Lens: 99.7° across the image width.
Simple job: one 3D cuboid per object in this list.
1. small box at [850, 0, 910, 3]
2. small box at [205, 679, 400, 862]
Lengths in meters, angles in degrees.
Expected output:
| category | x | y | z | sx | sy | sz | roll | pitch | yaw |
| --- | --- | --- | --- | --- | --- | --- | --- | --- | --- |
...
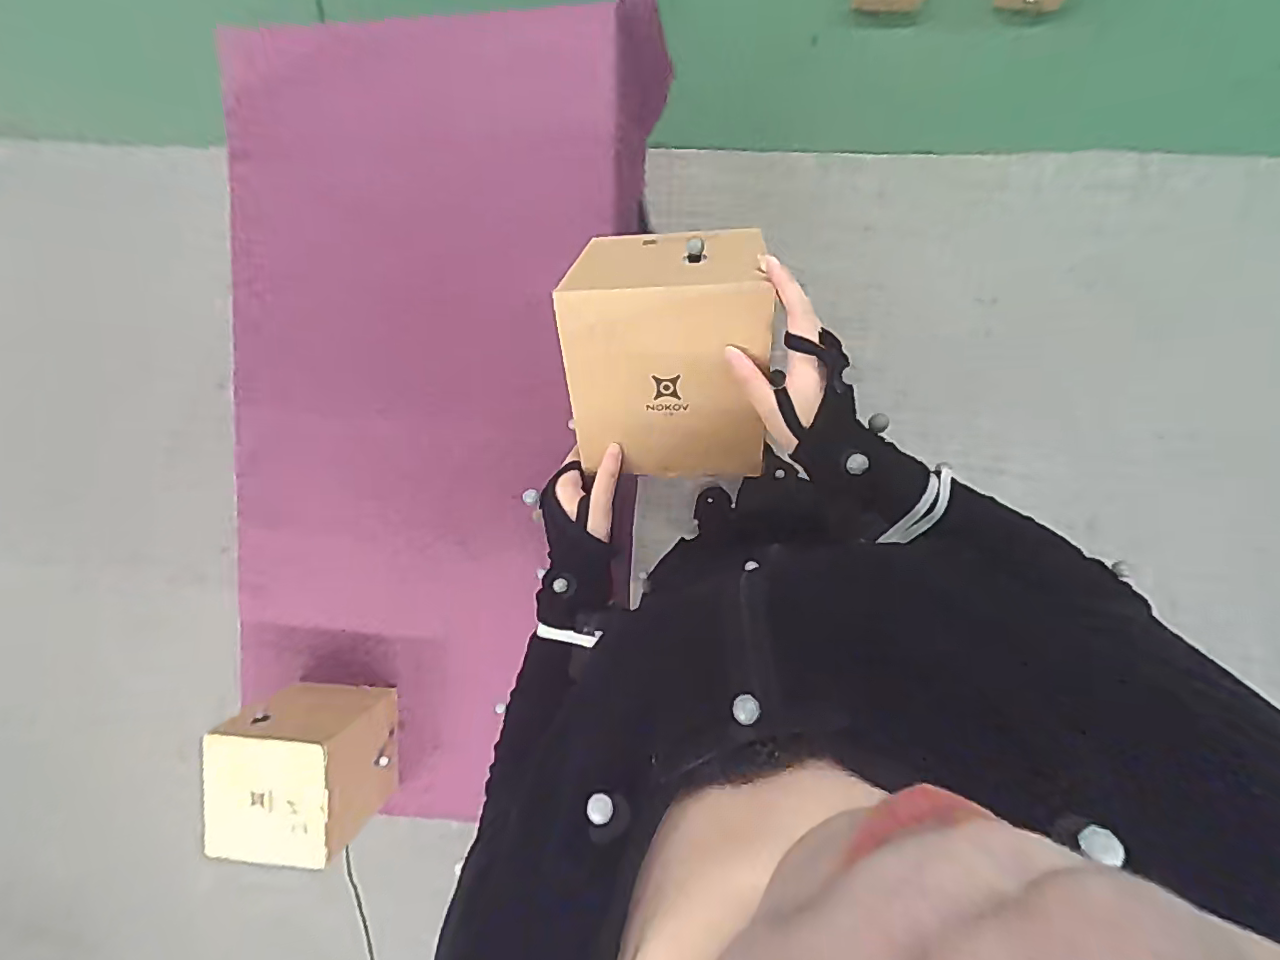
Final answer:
| category | x | y | z | sx | sy | sz | roll | pitch | yaw |
| --- | --- | --- | --- | --- | --- | --- | --- | --- | --- |
| small box | 0.617 | -1.289 | 1.291 | 0.179 | 0.176 | 0.168 | 7 | 94 | 8 |
| small box | -0.475 | 0.401 | 0.778 | 0.179 | 0.176 | 0.168 | 2 | 93 | 7 |
